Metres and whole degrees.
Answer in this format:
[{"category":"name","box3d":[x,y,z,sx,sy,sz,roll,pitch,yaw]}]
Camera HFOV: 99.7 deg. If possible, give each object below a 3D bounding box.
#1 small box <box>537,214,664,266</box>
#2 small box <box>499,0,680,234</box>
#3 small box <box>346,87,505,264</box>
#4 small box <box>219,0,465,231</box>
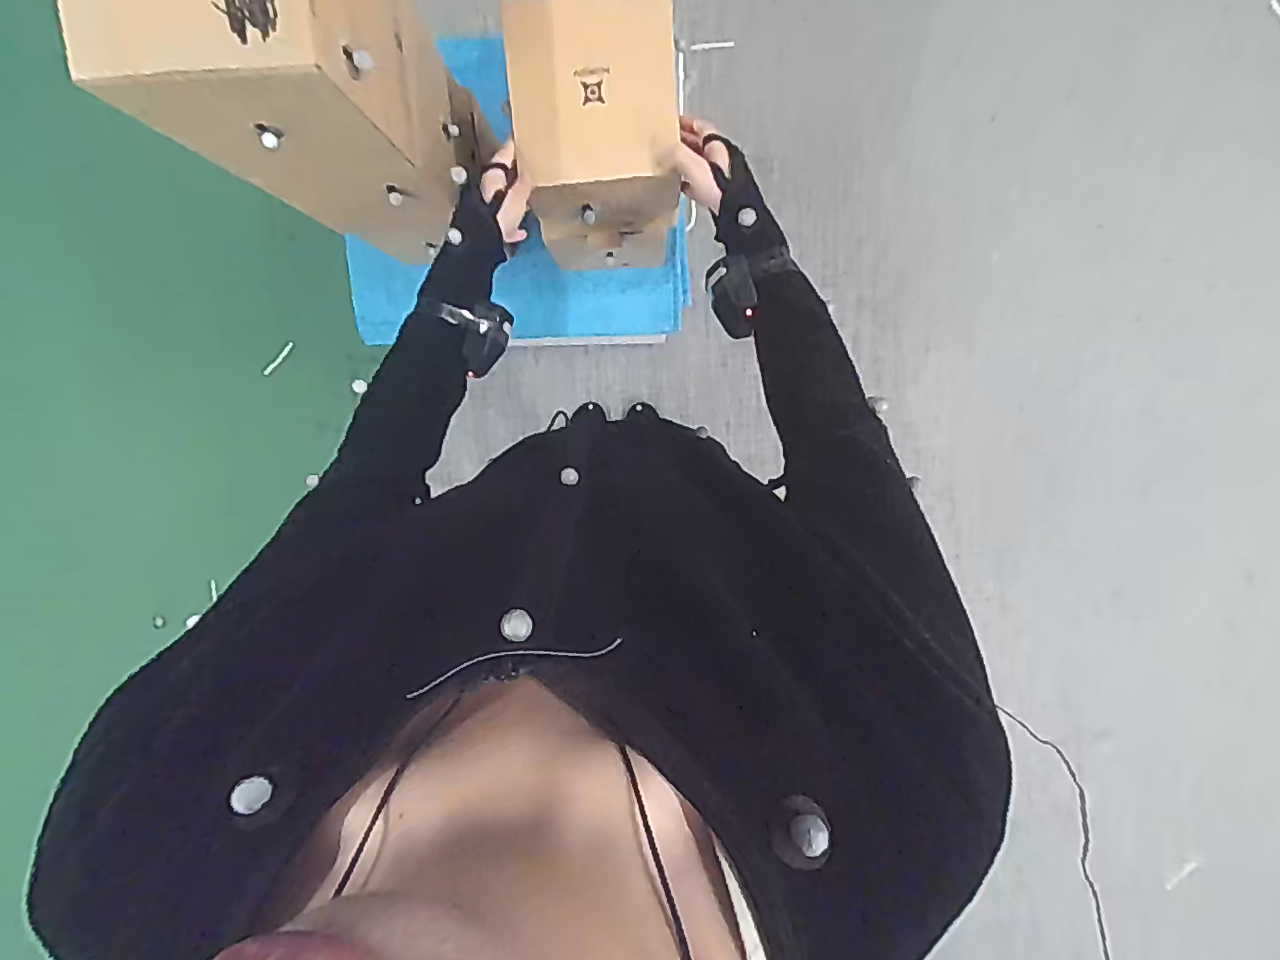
[{"category":"small box","box3d":[-0.051,-0.407,0.758,0.168,0.176,0.179,-3,98,1]},{"category":"small box","box3d":[-0.044,-0.387,0.597,0.168,0.176,0.179,-5,96,2]},{"category":"small box","box3d":[-0.294,-0.412,0.757,0.179,0.176,0.168,-3,97,1]},{"category":"small box","box3d":[-0.303,-0.388,0.594,0.179,0.176,0.168,-3,97,1]}]
